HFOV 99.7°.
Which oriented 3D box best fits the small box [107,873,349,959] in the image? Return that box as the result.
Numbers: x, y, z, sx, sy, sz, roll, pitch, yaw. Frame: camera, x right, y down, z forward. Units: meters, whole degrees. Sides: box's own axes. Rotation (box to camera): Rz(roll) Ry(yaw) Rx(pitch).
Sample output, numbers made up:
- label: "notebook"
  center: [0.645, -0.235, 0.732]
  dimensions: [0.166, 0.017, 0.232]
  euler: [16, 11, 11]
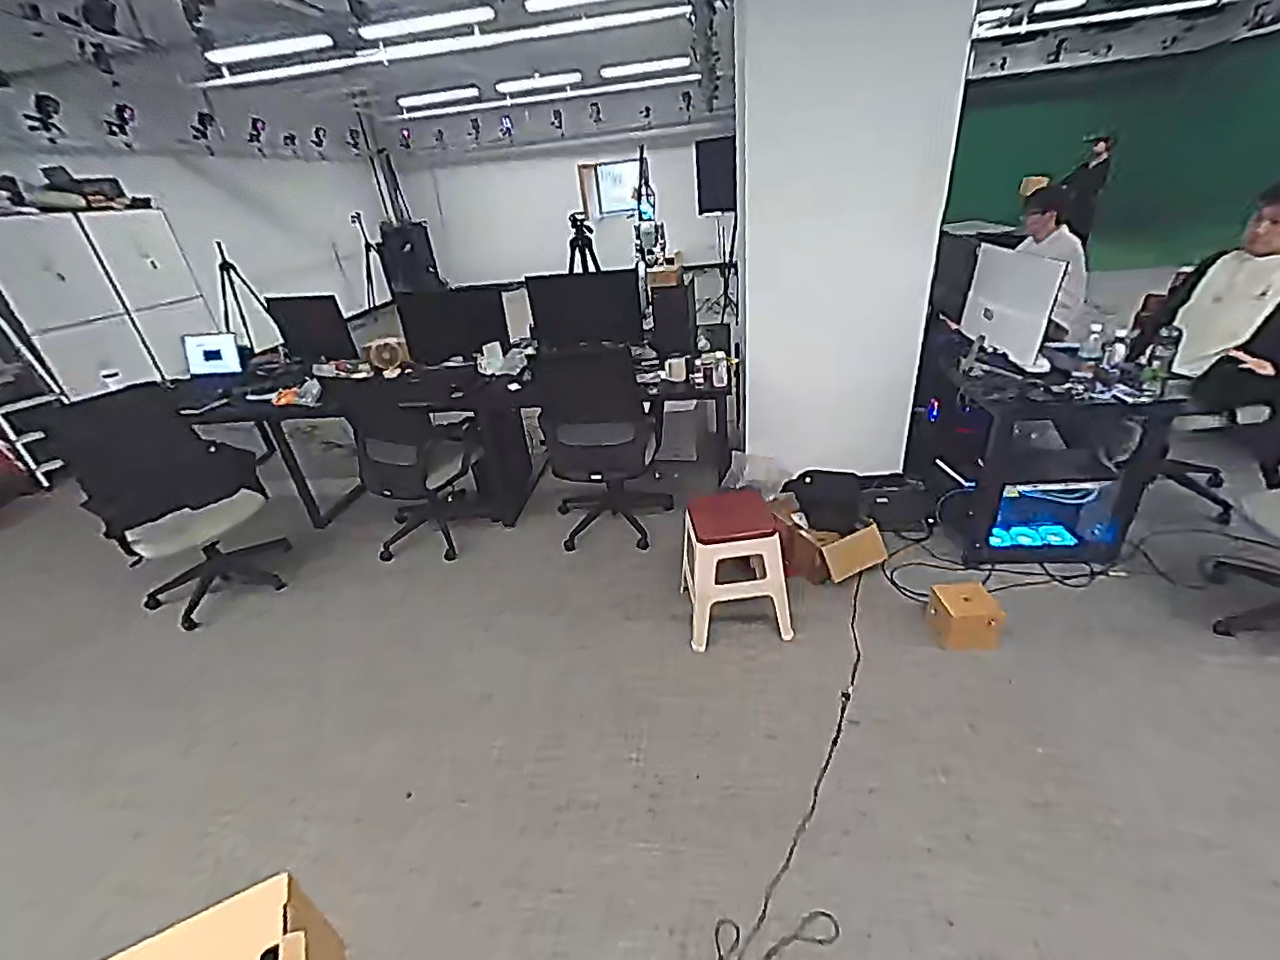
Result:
- label: "small box"
  center: [-0.363, 0.496, 0.456]
  dimensions: [0.179, 0.176, 0.168]
  euler: [-18, 35, -23]
